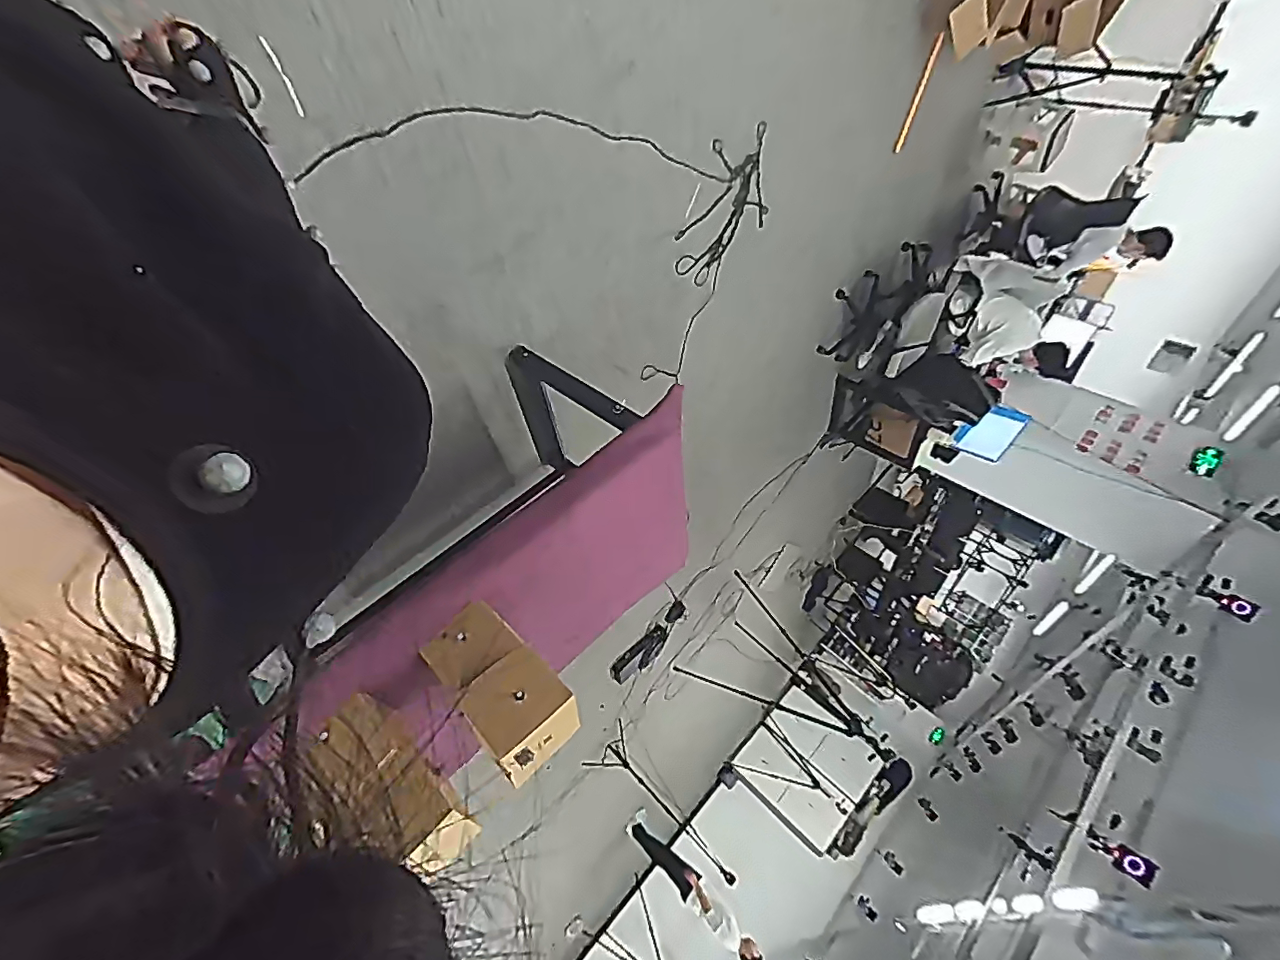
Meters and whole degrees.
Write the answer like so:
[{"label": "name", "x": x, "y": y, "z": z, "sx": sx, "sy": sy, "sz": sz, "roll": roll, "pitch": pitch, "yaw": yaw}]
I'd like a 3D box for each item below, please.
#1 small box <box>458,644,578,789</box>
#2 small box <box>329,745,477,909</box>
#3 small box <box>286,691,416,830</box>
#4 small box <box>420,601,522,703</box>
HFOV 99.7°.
[{"label": "small box", "x": -0.252, "y": 0.477, "z": 1.106, "sx": 0.179, "sy": 0.176, "sz": 0.168, "roll": -35, "pitch": 144, "yaw": -31}, {"label": "small box", "x": -0.440, "y": 0.637, "z": 1.001, "sx": 0.179, "sy": 0.176, "sz": 0.168, "roll": -39, "pitch": 145, "yaw": -26}, {"label": "small box", "x": -0.565, "y": 0.561, "z": 1.076, "sx": 0.179, "sy": 0.176, "sz": 0.168, "roll": -42, "pitch": 146, "yaw": -21}, {"label": "small box", "x": -0.354, "y": 0.403, "z": 1.215, "sx": 0.168, "sy": 0.176, "sz": 0.179, "roll": -44, "pitch": 147, "yaw": -19}]
